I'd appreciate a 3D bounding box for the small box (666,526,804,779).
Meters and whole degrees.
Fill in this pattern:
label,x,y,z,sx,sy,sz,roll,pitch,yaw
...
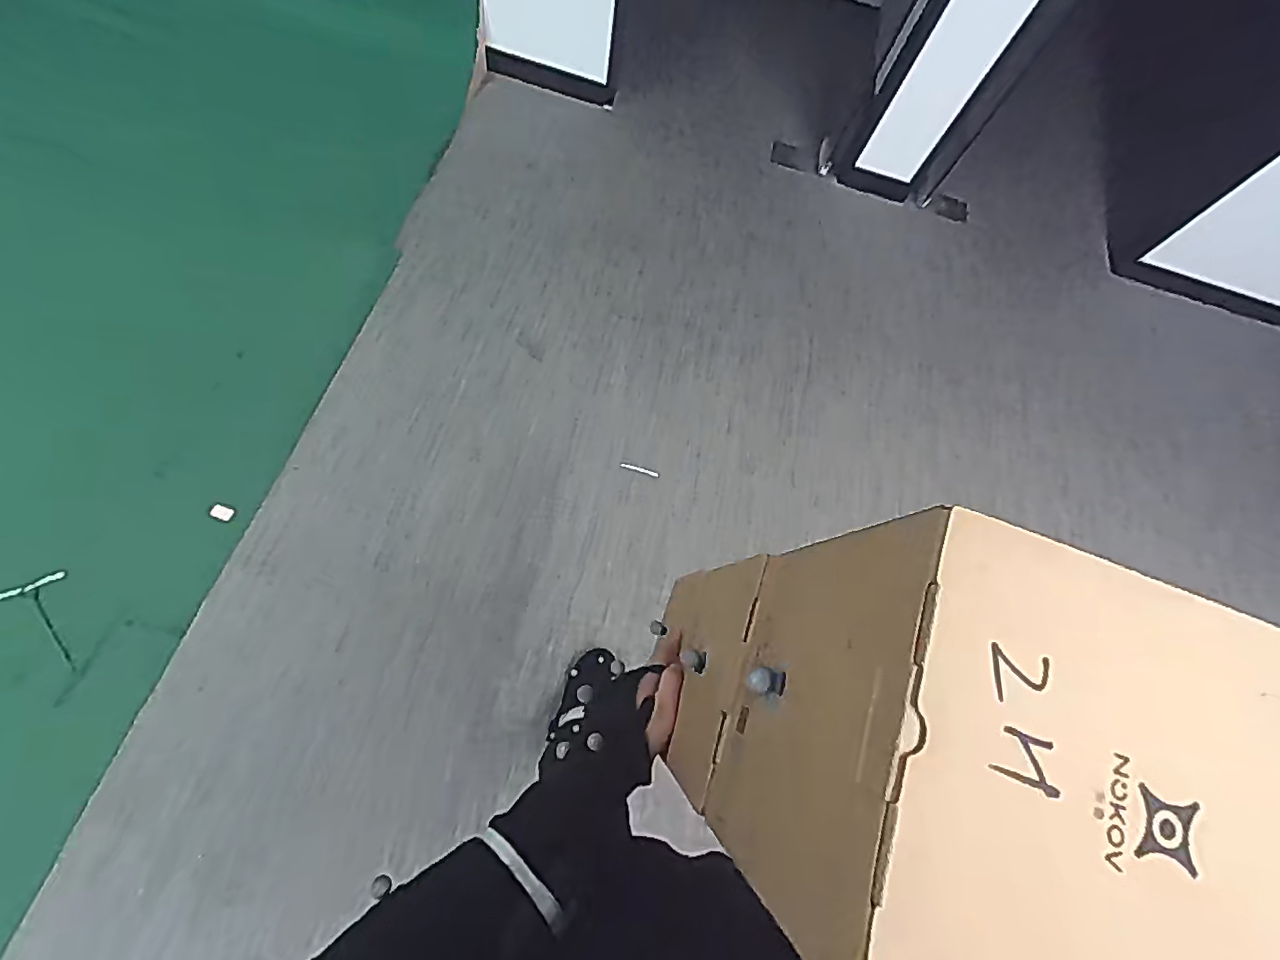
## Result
label,x,y,z,sx,sy,sz,roll,pitch,yaw
small box,0.131,0.153,0.425,0.179,0.176,0.168,20,74,-1

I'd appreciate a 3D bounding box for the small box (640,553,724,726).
label,x,y,z,sx,sy,sz,roll,pitch,yaw
small box,0.111,0.189,0.584,0.179,0.176,0.168,18,74,-2
